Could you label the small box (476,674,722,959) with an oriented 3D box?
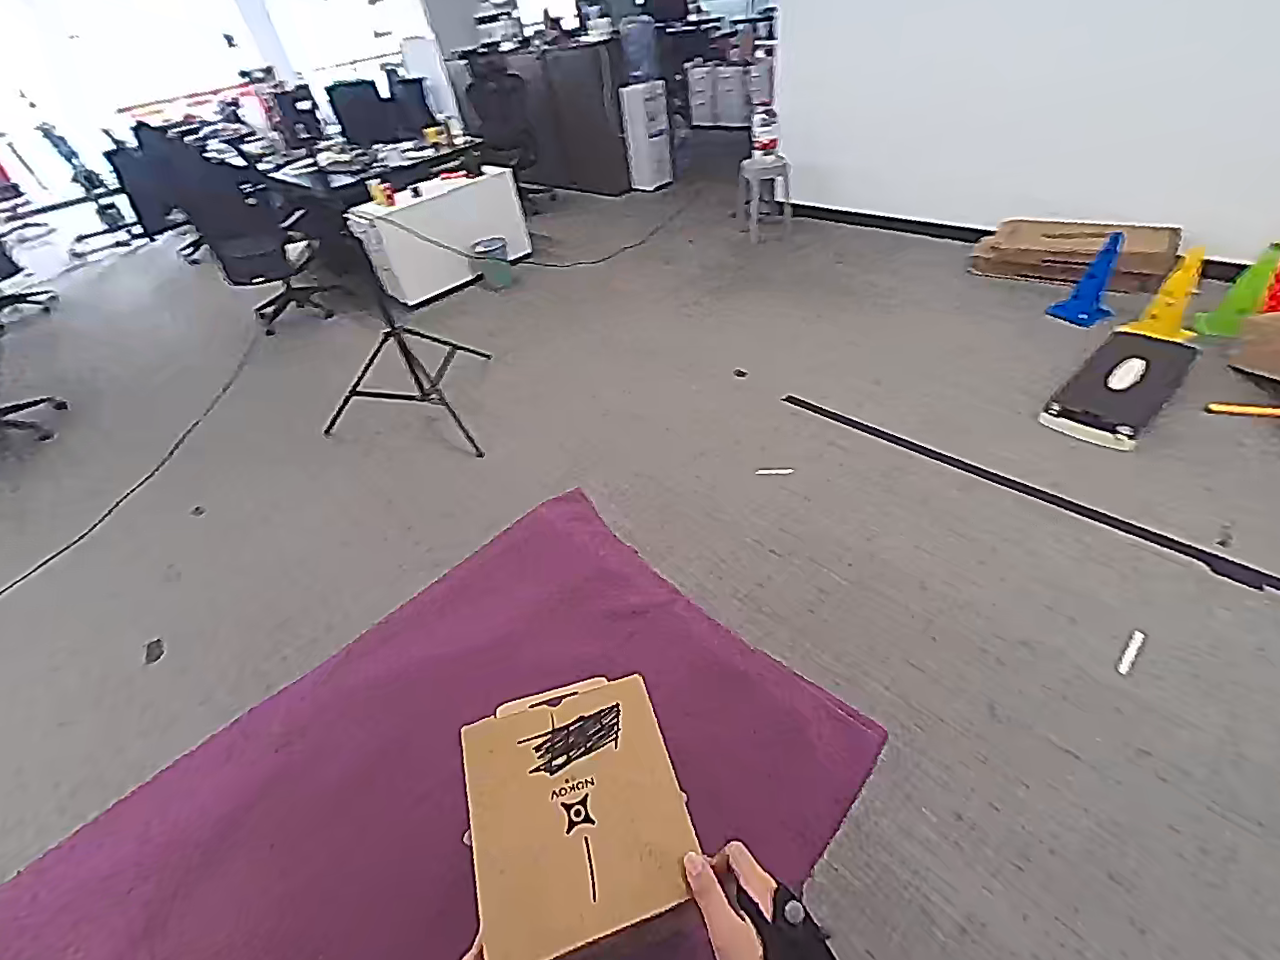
[{"bbox_3d":[-0.045,0.311,0.488,0.168,0.176,0.179,-12,47,-13],"label":"small box"}]
